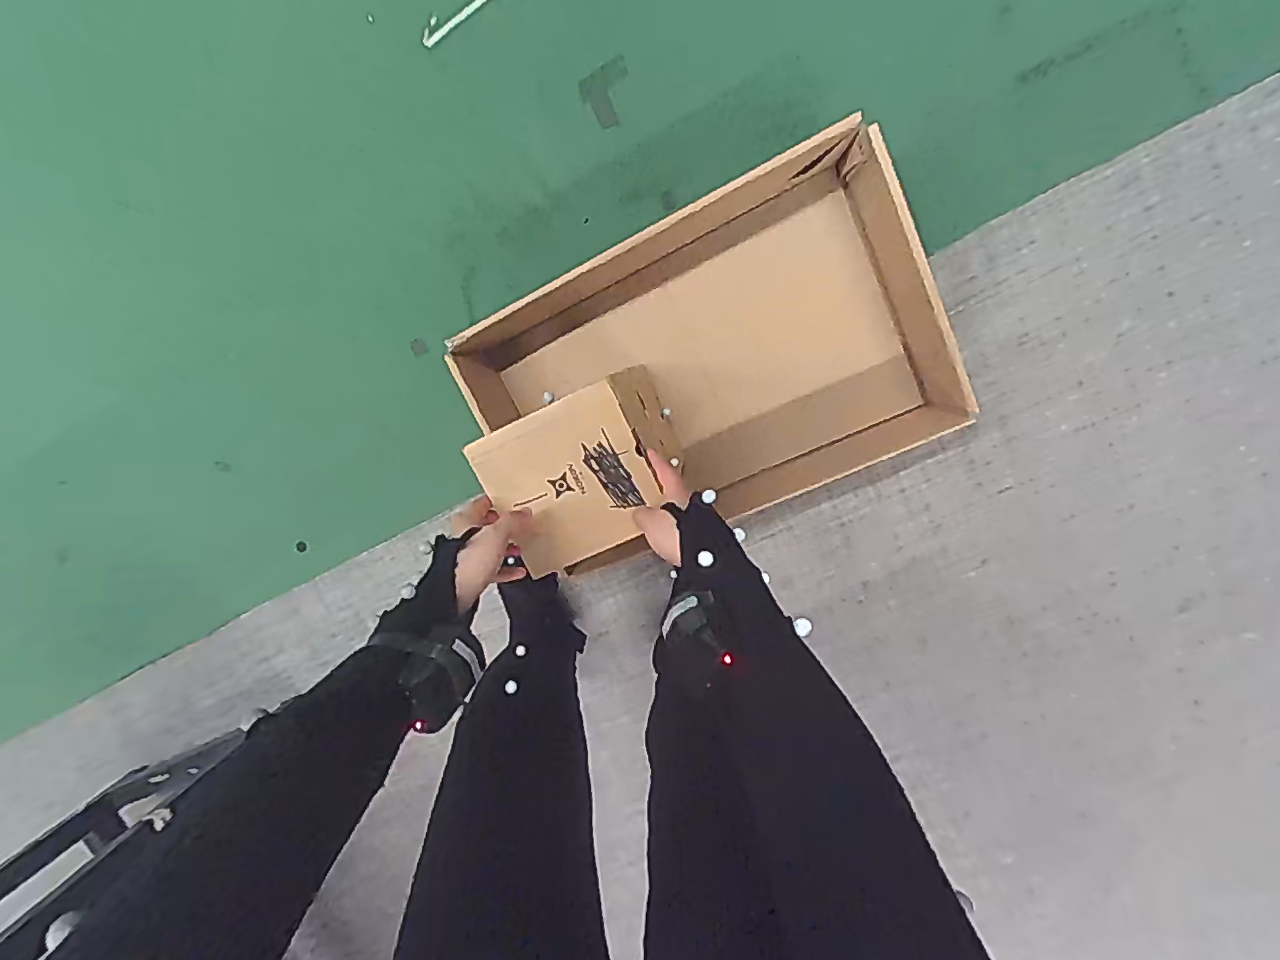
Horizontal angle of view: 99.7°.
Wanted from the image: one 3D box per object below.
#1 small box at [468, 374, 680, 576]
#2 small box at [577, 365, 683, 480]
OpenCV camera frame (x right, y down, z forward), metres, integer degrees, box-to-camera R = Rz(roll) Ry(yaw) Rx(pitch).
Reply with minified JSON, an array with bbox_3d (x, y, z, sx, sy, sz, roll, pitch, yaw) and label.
[{"bbox_3d":[-0.064,-0.017,0.638,0.179,0.176,0.168,-24,99,10],"label":"small box"},{"bbox_3d":[-0.047,-0.059,0.803,0.179,0.176,0.168,-24,100,12],"label":"small box"}]
